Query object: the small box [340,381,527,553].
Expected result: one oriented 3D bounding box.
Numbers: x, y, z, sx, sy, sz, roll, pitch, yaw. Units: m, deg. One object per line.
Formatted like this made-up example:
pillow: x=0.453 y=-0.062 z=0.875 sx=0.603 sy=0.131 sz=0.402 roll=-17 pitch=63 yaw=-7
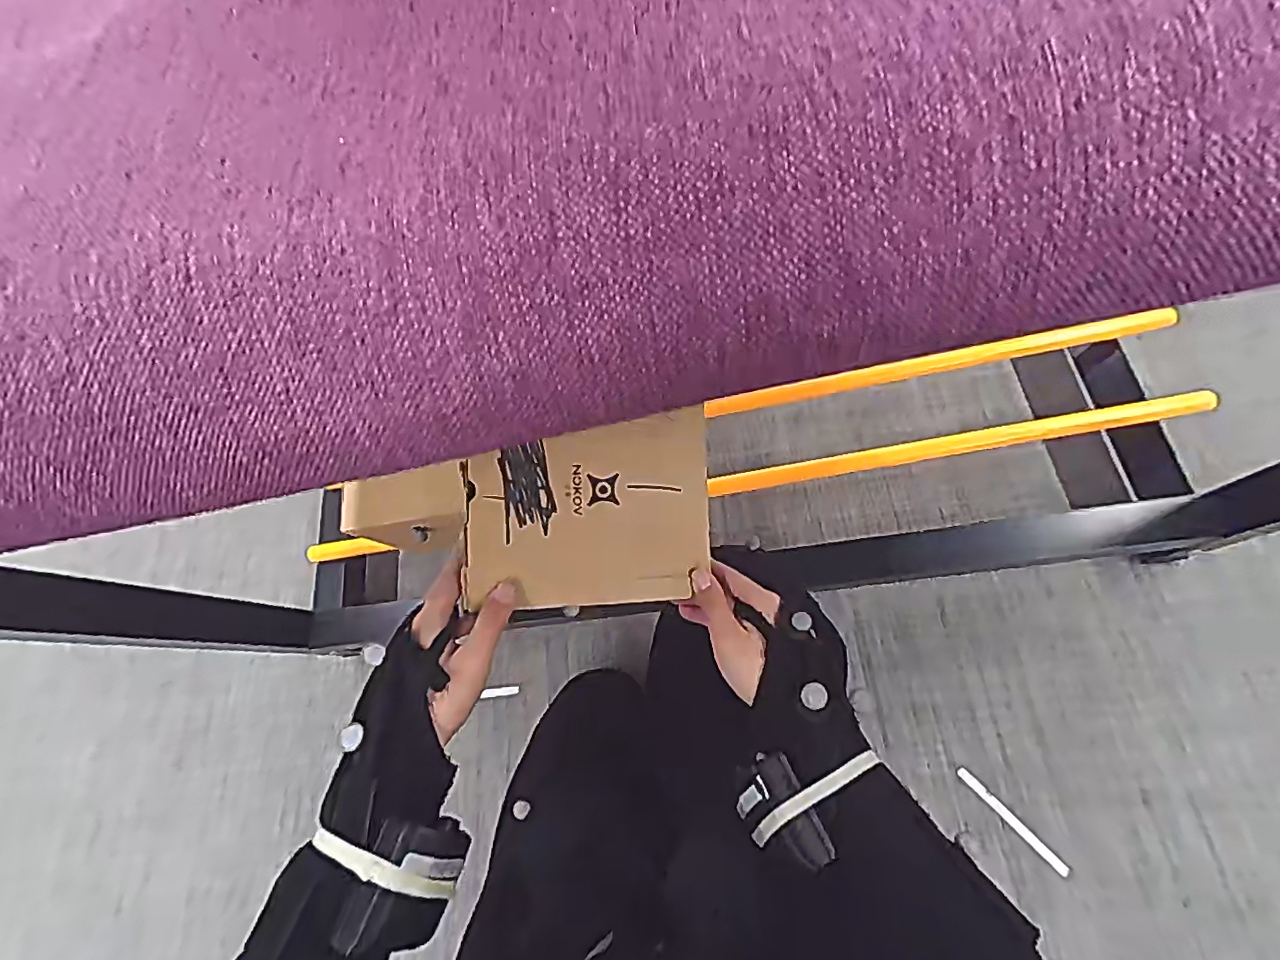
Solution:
small box: x=-0.255 y=-0.007 z=0.710 sx=0.179 sy=0.176 sz=0.168 roll=-9 pitch=70 yaw=8
